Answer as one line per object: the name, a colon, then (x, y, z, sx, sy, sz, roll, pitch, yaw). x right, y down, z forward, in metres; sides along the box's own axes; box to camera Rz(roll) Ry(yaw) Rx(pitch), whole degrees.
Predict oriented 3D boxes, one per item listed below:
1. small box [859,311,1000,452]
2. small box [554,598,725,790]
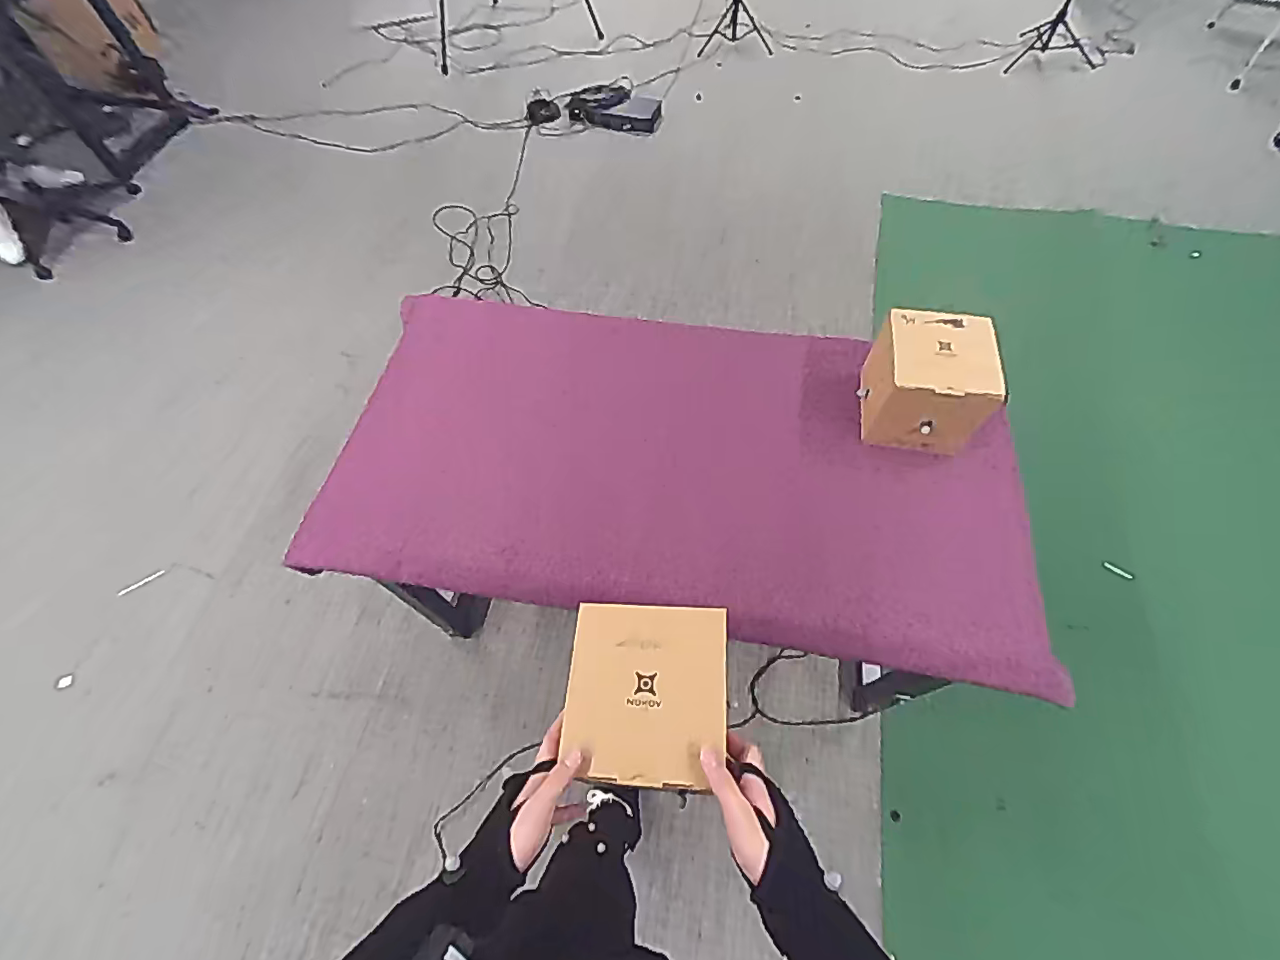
small box: (0.491, -0.167, 0.945, 0.168, 0.176, 0.179, 8, 61, 8)
small box: (0.013, 0.251, 0.625, 0.168, 0.176, 0.179, 1, 58, 9)
